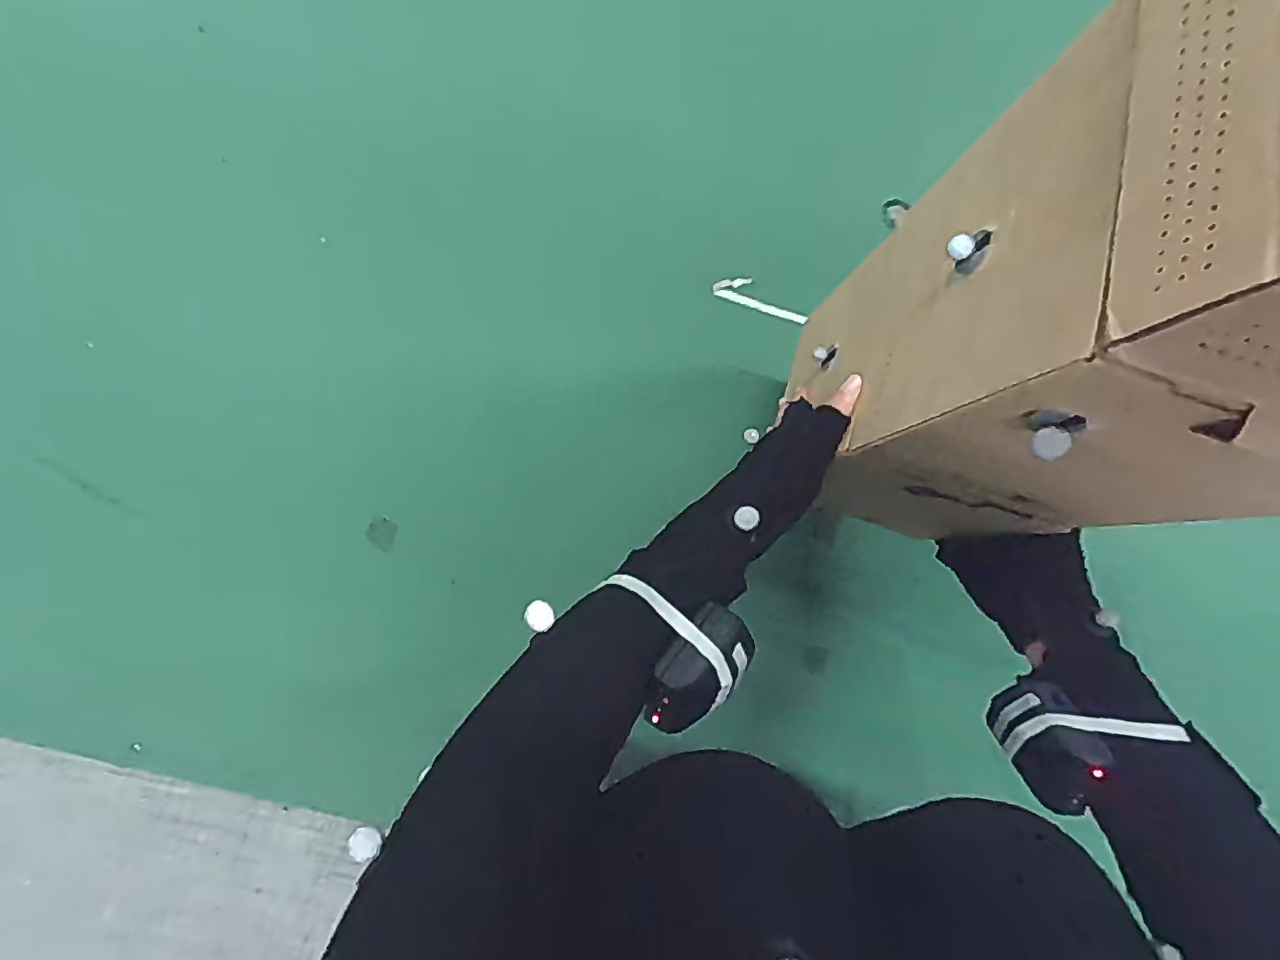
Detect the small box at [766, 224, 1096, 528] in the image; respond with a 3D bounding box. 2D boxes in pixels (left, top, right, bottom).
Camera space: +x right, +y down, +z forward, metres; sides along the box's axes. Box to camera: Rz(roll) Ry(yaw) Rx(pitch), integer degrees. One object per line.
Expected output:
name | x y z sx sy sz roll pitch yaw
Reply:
small box | 0.221 -0.066 0.453 0.168 0.176 0.179 18 80 -4
